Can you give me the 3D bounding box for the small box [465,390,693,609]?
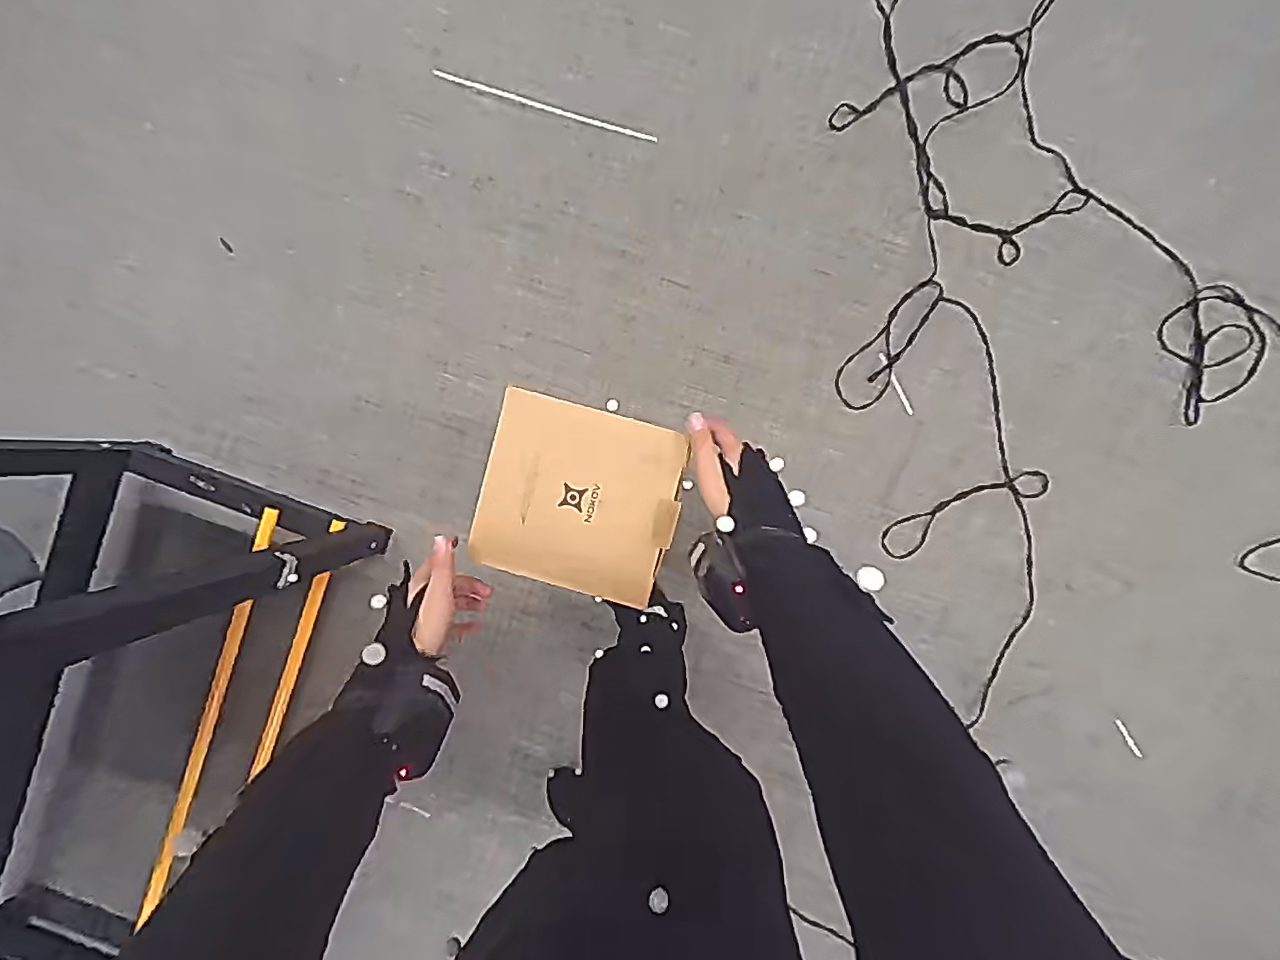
[{"bbox_3d":[-0.053,0.014,0.566,0.179,0.176,0.168,15,93,2],"label":"small box"}]
